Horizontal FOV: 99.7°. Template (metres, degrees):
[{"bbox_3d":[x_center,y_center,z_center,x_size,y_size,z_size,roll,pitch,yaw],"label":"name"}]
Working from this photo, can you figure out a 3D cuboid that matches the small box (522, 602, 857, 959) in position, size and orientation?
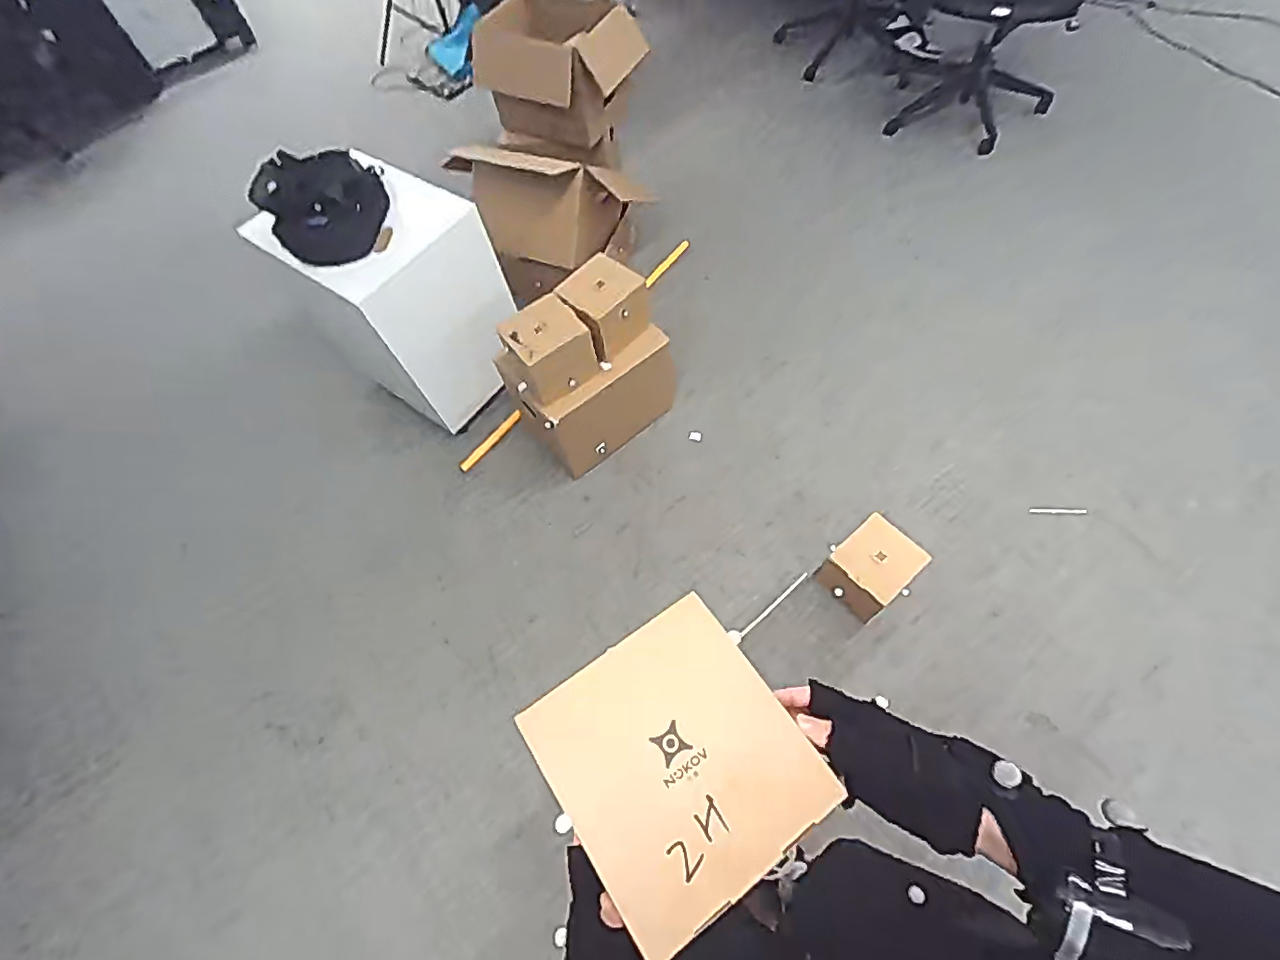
[{"bbox_3d":[0.029,0.232,0.436,0.168,0.176,0.179,-32,68,-14],"label":"small box"}]

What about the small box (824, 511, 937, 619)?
[{"bbox_3d":[0.580,0.213,1.330,0.179,0.176,0.168,-40,66,-13],"label":"small box"}]
